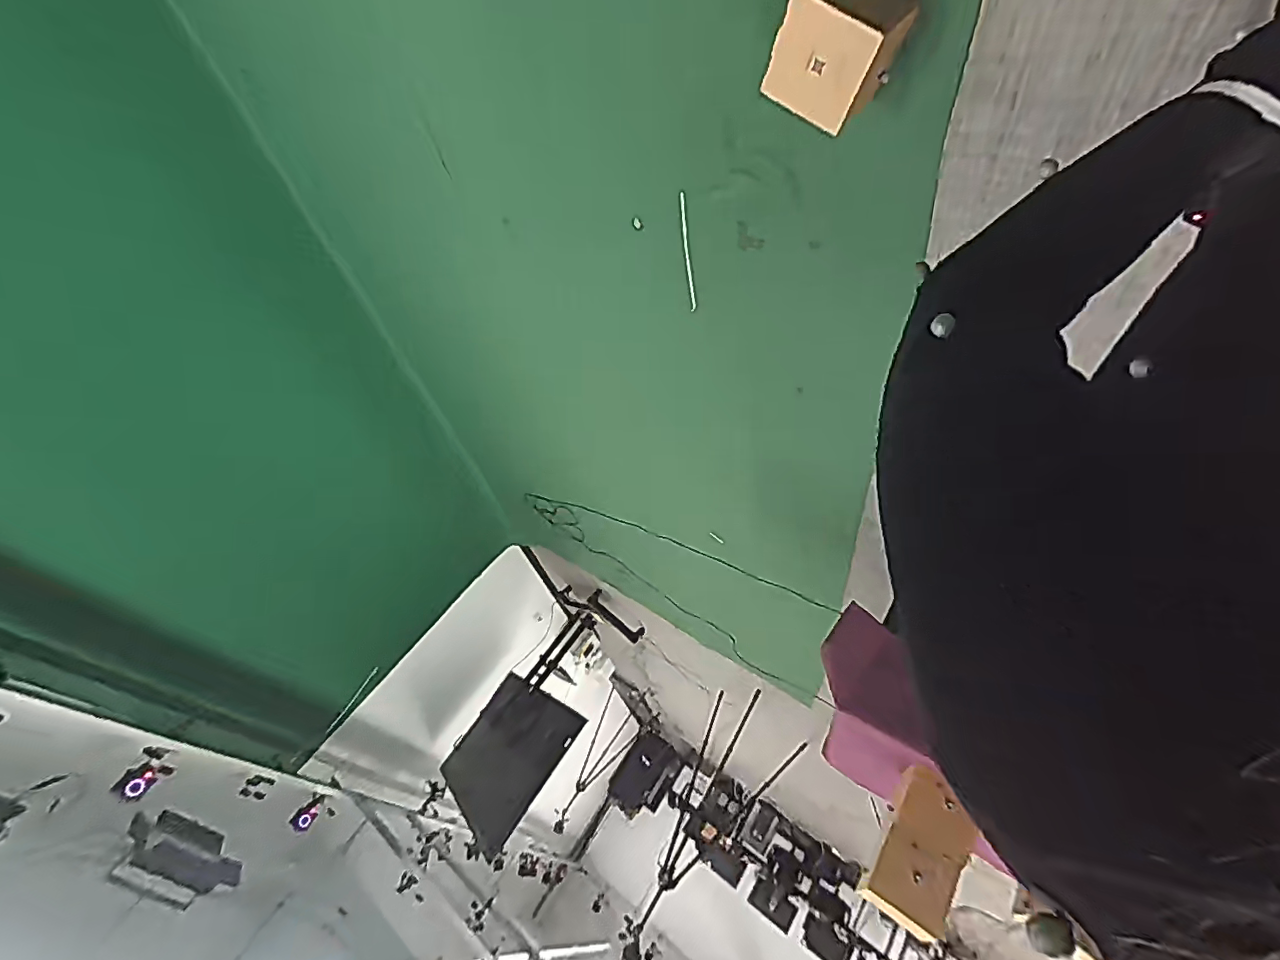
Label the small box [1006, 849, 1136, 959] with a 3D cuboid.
[{"bbox_3d":[0.987,0.989,1.241,0.179,0.176,0.168,25,150,28],"label":"small box"}]

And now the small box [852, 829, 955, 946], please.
[{"bbox_3d":[0.645,0.992,1.327,0.168,0.176,0.179,26,150,28],"label":"small box"}]

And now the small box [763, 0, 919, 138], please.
[{"bbox_3d":[0.362,-0.775,0.984,0.179,0.176,0.168,37,154,7],"label":"small box"}]

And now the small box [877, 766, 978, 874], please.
[{"bbox_3d":[0.743,0.880,1.399,0.168,0.176,0.179,26,150,27],"label":"small box"}]
